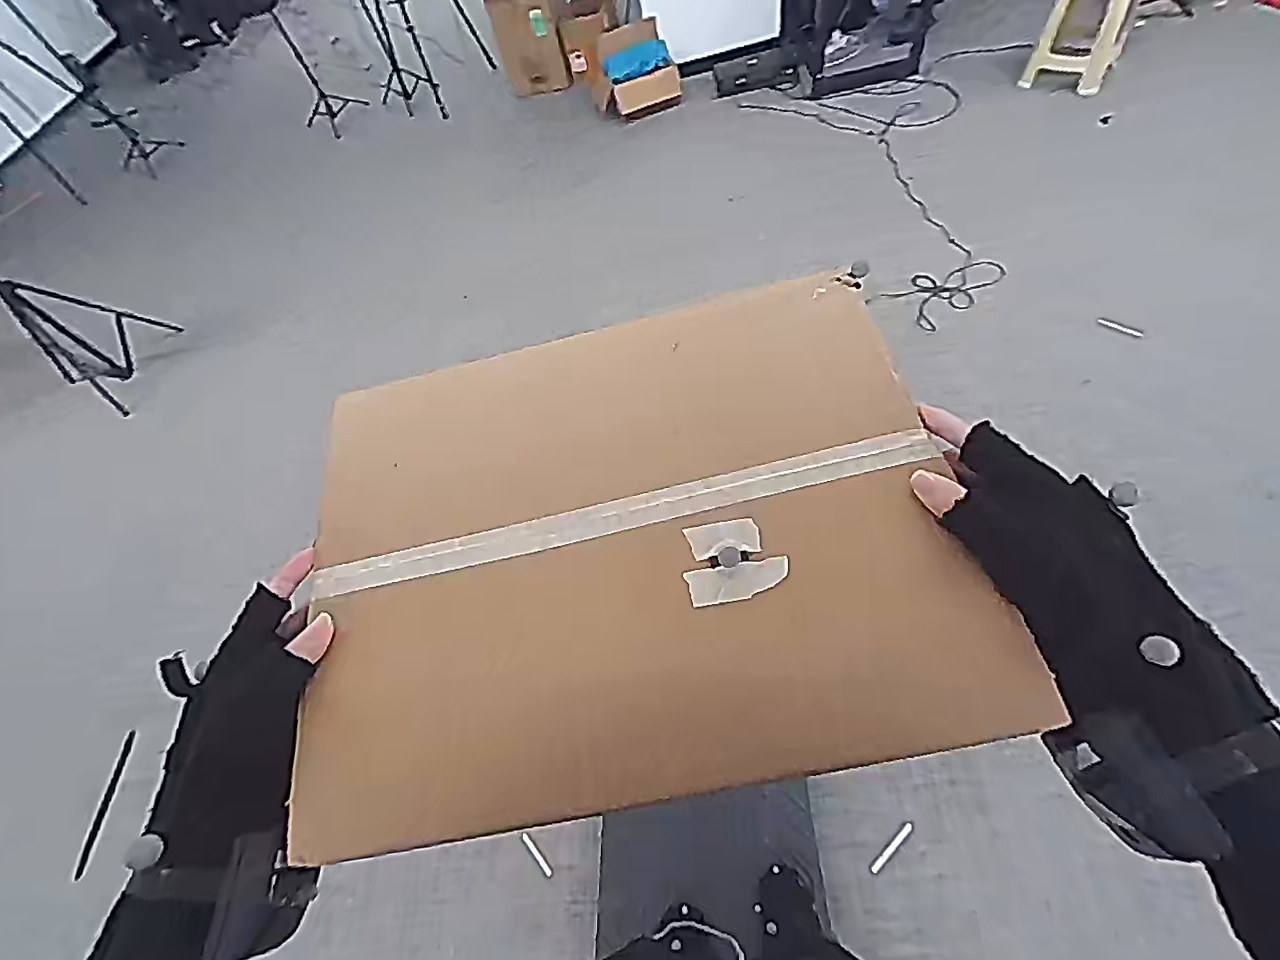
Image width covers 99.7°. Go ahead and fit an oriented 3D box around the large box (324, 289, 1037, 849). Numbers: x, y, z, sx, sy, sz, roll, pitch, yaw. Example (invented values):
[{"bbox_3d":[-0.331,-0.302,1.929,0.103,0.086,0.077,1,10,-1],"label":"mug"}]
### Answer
[{"bbox_3d":[0.012,0.095,0.489,0.408,0.320,0.320,-13,63,4],"label":"large box"}]
